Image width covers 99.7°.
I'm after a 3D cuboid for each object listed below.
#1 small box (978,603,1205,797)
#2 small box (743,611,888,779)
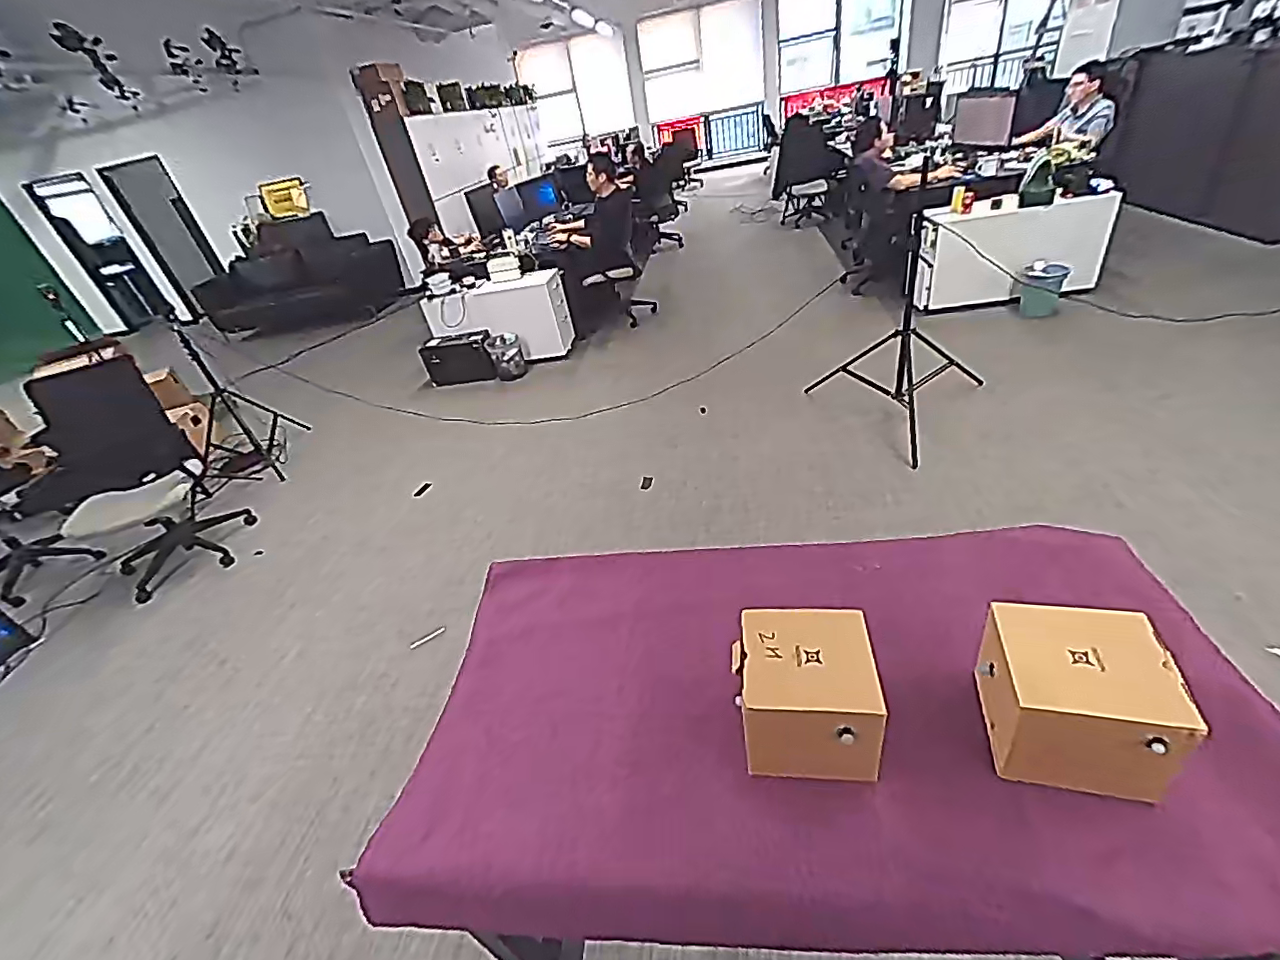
[{"bbox_3d":[0.564,0.285,0.712,0.179,0.176,0.168,1,36,19],"label":"small box"},{"bbox_3d":[0.242,0.309,0.781,0.179,0.176,0.168,-4,34,13],"label":"small box"}]
